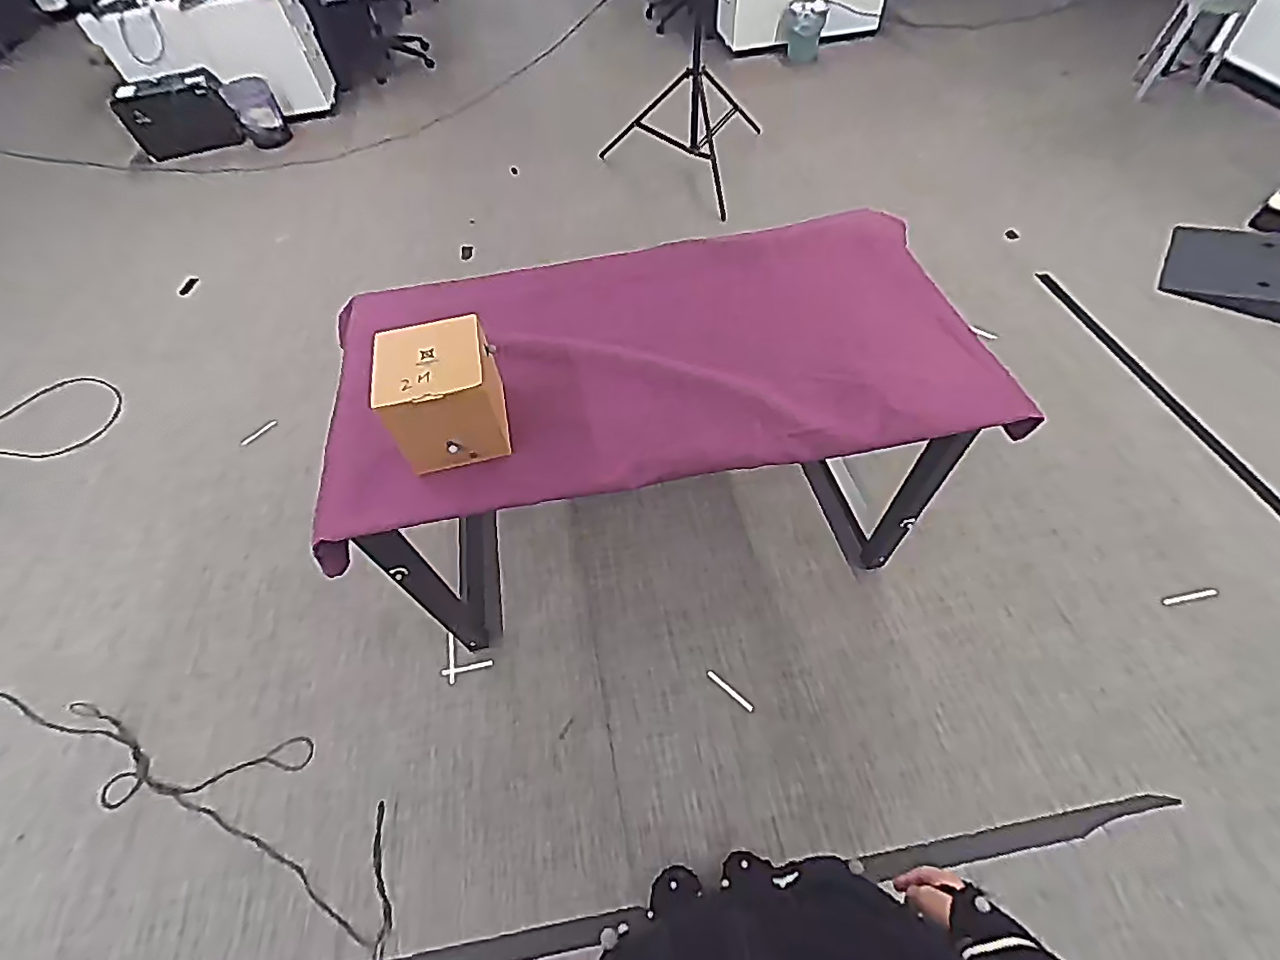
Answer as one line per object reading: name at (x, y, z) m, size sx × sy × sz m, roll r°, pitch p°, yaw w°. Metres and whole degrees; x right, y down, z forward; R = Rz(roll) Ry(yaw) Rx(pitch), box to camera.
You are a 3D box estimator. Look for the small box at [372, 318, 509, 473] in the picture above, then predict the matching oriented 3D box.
small box at (-0.327, -0.140, 0.908) m, size 0.168 × 0.176 × 0.179 m, roll -13°, pitch 56°, yaw -5°
